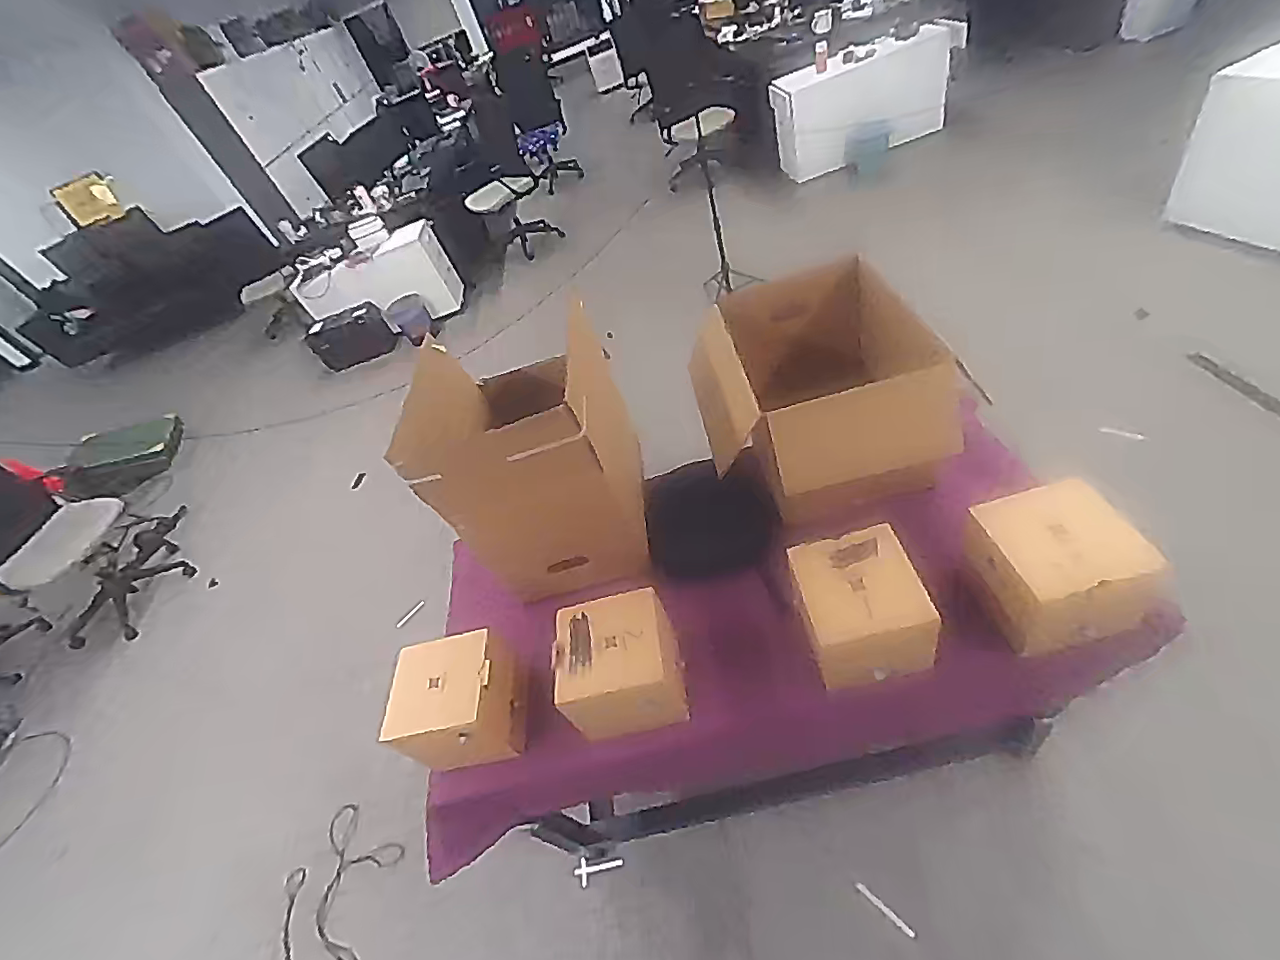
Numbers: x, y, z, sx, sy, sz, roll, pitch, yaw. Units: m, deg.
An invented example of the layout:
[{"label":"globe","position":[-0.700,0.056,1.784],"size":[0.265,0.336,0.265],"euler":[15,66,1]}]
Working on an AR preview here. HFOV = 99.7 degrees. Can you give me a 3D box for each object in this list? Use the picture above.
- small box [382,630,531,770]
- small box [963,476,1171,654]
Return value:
[{"label":"small box","position":[-0.314,0.395,0.961],"size":[0.179,0.176,0.168],"euler":[-15,44,8]},{"label":"small box","position":[0.610,0.129,0.807],"size":[0.168,0.176,0.179],"euler":[-18,44,8]}]
